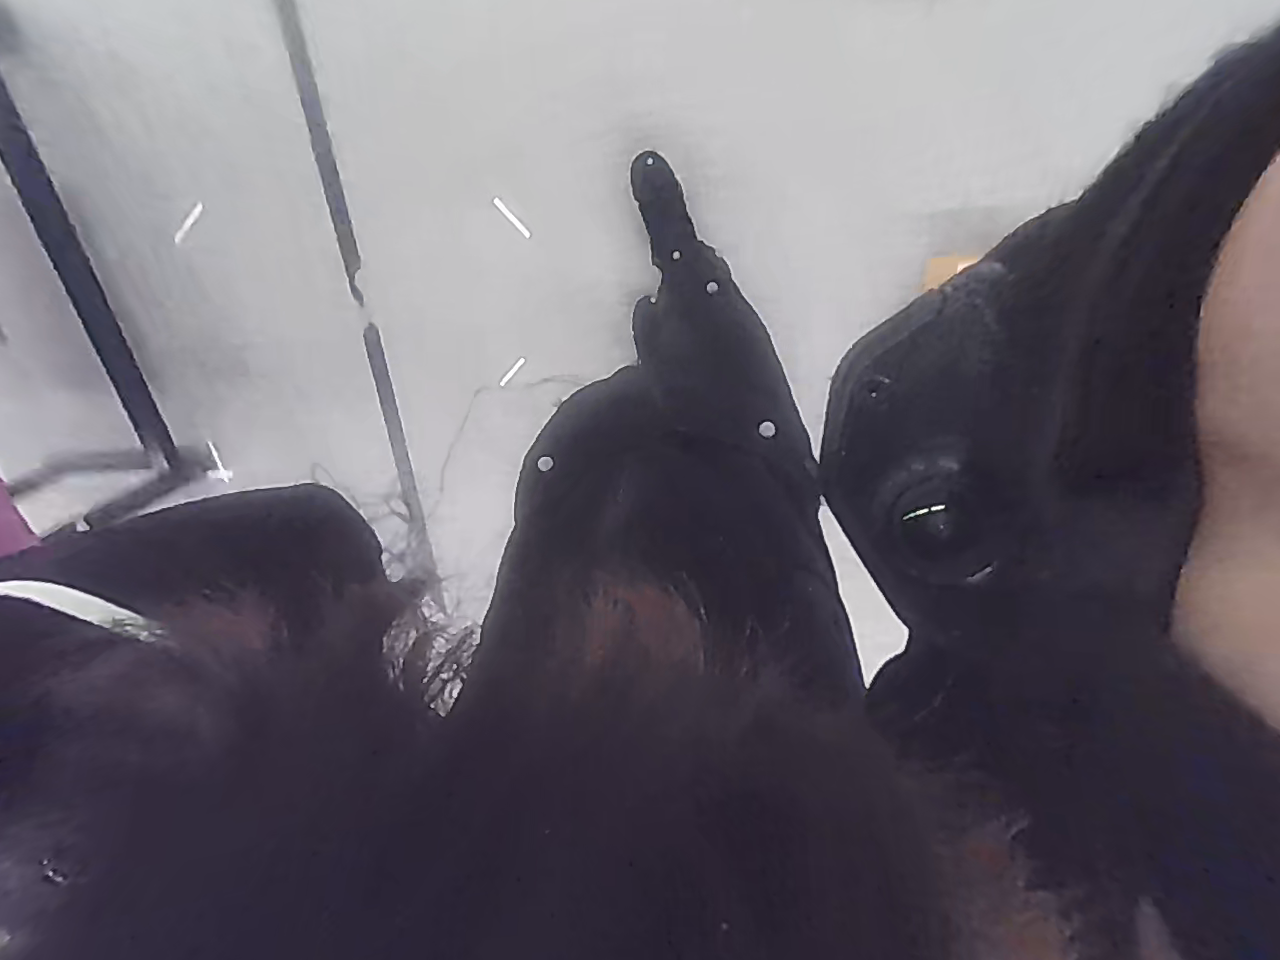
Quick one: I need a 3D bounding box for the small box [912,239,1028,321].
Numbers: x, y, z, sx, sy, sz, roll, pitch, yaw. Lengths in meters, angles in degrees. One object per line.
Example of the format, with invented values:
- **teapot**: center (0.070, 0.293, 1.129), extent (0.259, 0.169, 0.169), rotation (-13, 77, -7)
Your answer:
- **small box**: center (0.786, -0.487, 1.311), extent (0.179, 0.176, 0.168), rotation (-4, 116, 4)
